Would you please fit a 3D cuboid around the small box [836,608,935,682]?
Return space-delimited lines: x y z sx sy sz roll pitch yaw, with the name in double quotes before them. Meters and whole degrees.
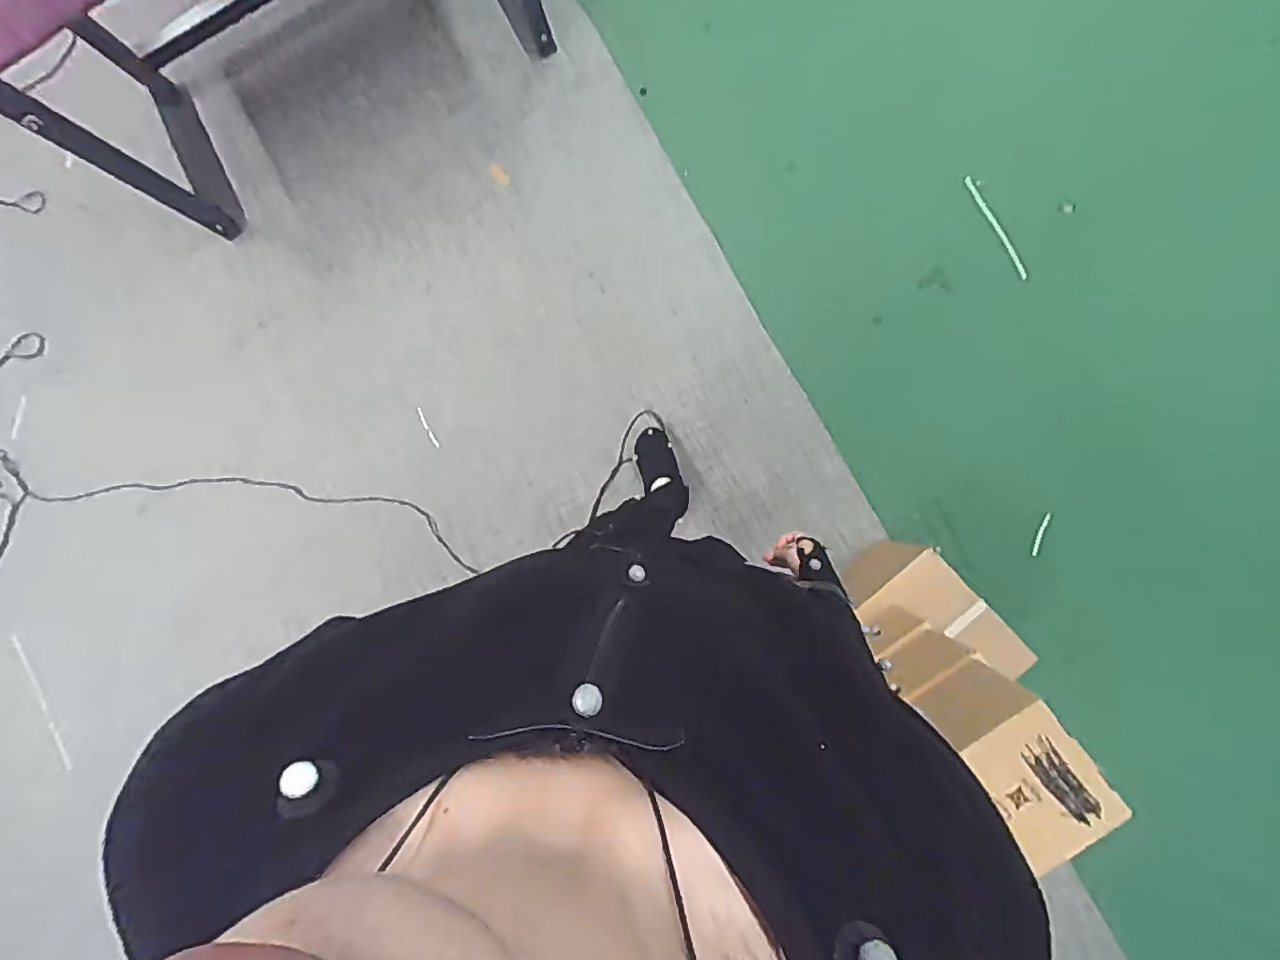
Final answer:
"small box" 0.513 0.368 1.053 0.168 0.176 0.179 -37 84 4

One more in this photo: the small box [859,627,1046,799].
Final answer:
"small box" 0.497 0.368 0.892 0.179 0.176 0.168 -36 84 4

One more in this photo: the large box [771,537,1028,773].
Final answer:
"large box" 0.579 0.384 1.293 0.408 0.320 0.320 -42 85 2
